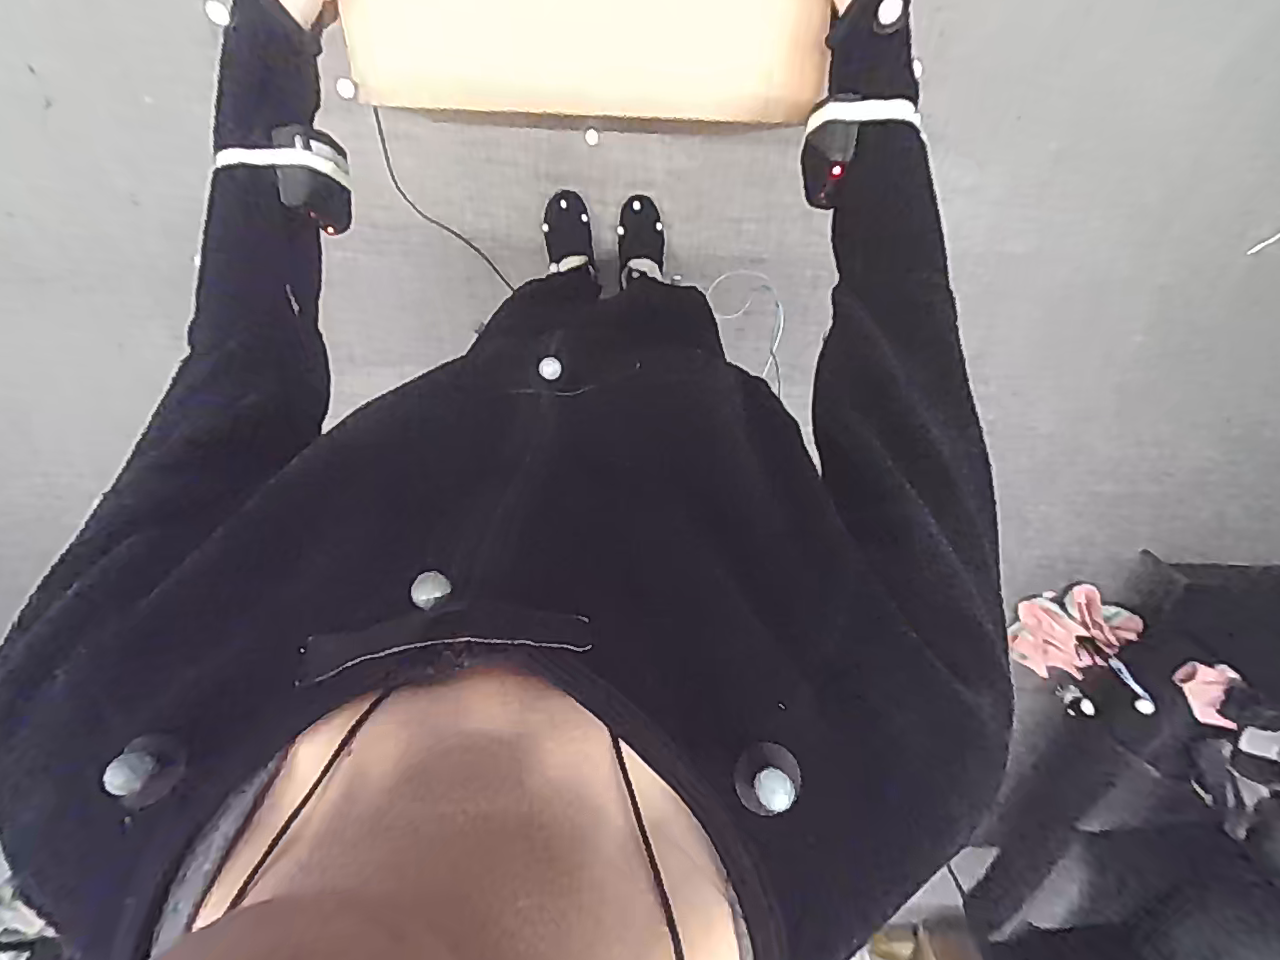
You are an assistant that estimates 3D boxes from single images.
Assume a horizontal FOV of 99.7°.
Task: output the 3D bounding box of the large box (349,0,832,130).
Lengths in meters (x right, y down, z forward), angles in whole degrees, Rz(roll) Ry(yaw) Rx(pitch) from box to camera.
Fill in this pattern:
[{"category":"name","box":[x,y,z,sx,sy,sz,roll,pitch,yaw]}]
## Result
[{"category":"large box","box":[-0.046,-0.531,0.531,0.408,0.320,0.320,-2,120,-6]}]
